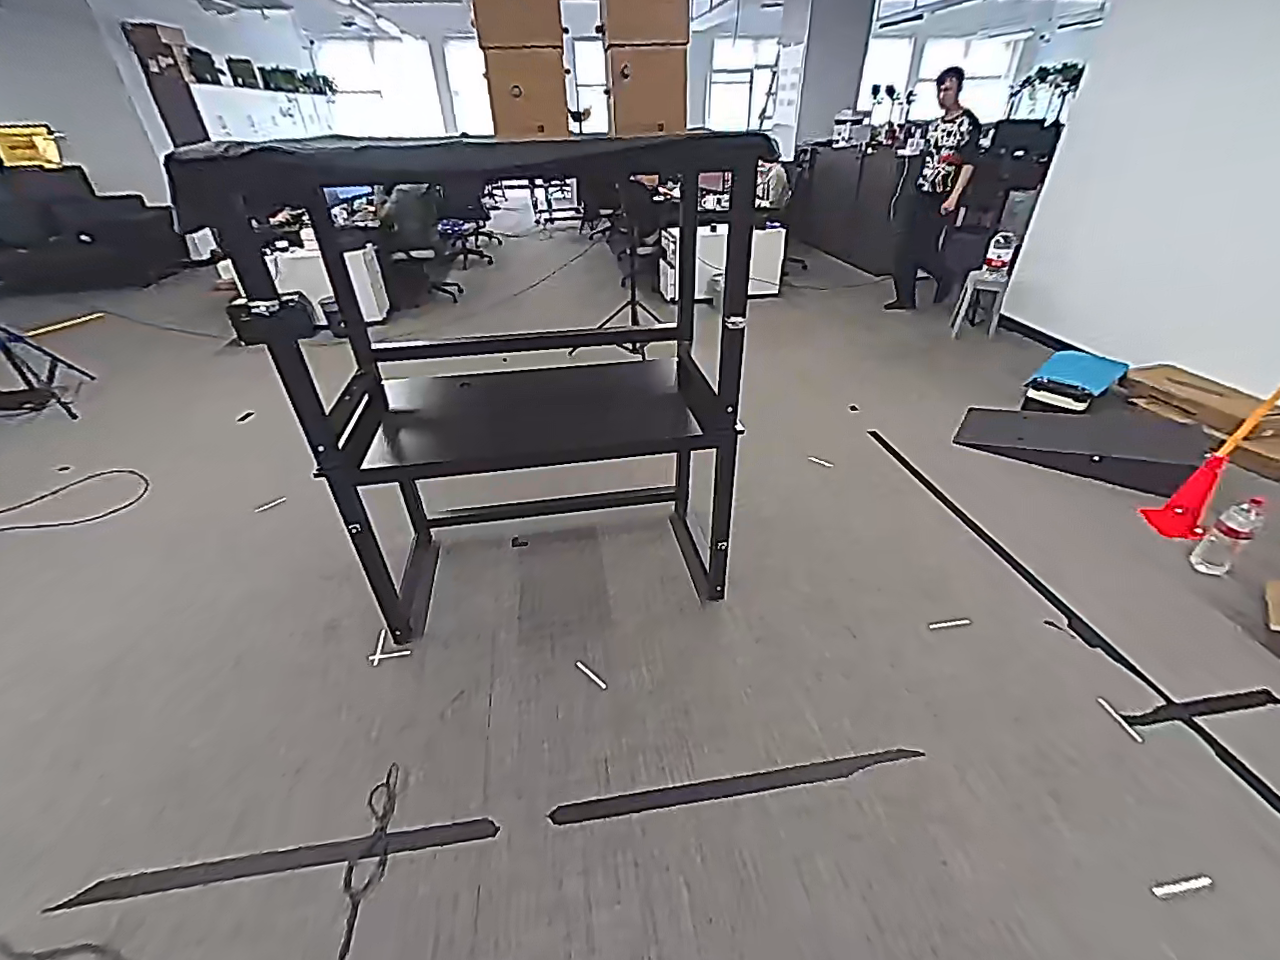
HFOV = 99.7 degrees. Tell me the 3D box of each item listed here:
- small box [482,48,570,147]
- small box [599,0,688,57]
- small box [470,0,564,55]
[{"bbox_3d":[-0.249,-0.860,1.227,0.168,0.176,0.179,-5,33,-4],"label":"small box"},{"bbox_3d":[0.005,-1.014,1.148,0.179,0.176,0.168,-7,32,-5],"label":"small box"},{"bbox_3d":[-0.254,-0.993,1.129,0.179,0.176,0.168,-6,32,-3],"label":"small box"}]
